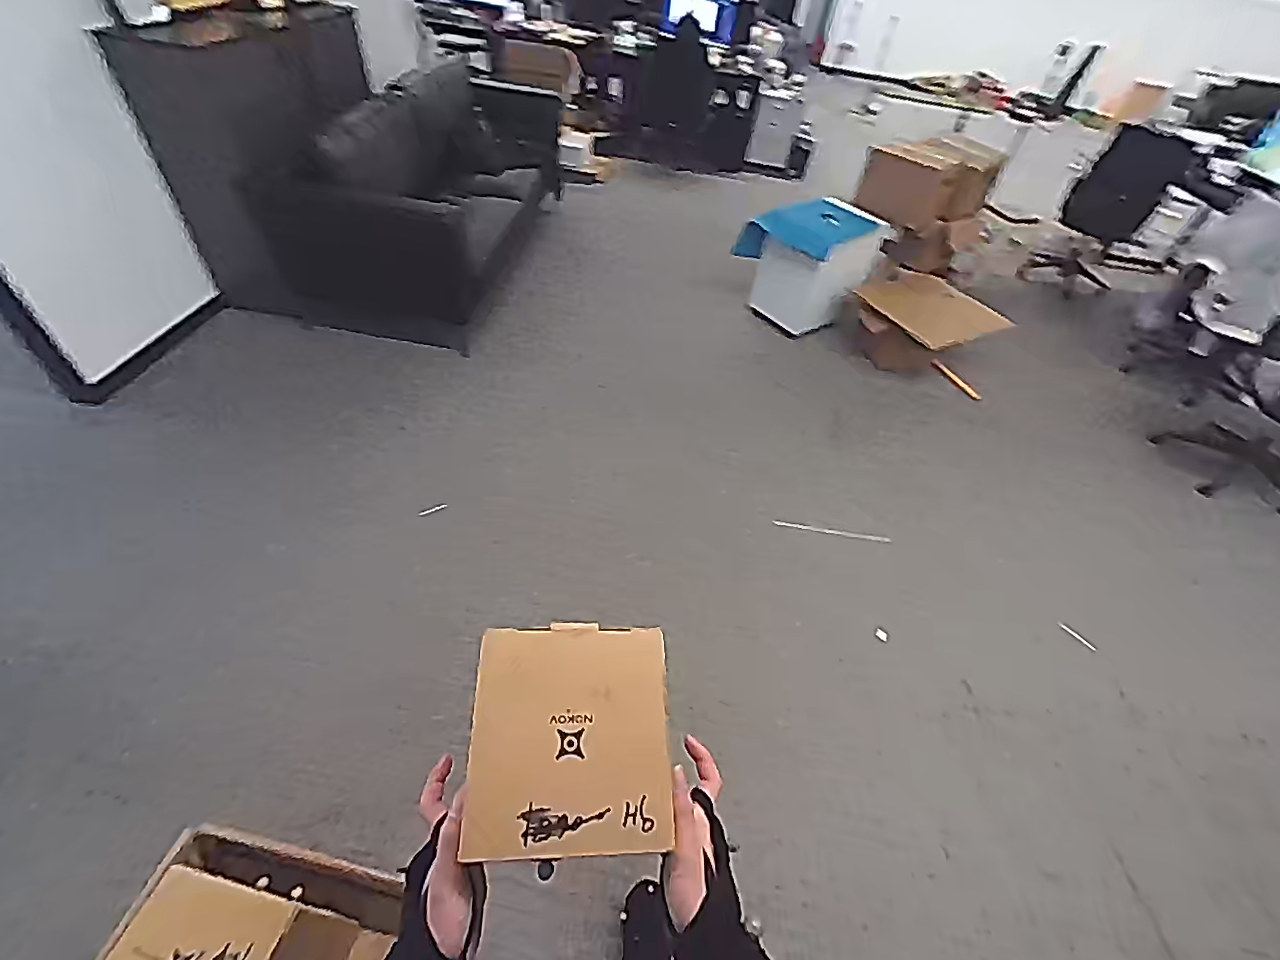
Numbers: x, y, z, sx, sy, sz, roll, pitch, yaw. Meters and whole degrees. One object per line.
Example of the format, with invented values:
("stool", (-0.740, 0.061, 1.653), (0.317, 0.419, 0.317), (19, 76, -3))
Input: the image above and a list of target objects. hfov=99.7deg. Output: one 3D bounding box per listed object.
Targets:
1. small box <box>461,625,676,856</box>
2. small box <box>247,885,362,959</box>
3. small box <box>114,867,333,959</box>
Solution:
("small box", (-0.062, 0.250, 0.519), (0.168, 0.176, 0.179), (1, 59, -5))
("small box", (-0.551, 0.729, 0.798), (0.179, 0.176, 0.168), (13, 46, 3))
("small box", (-0.527, 0.619, 0.678), (0.179, 0.176, 0.168), (14, 46, 5))
